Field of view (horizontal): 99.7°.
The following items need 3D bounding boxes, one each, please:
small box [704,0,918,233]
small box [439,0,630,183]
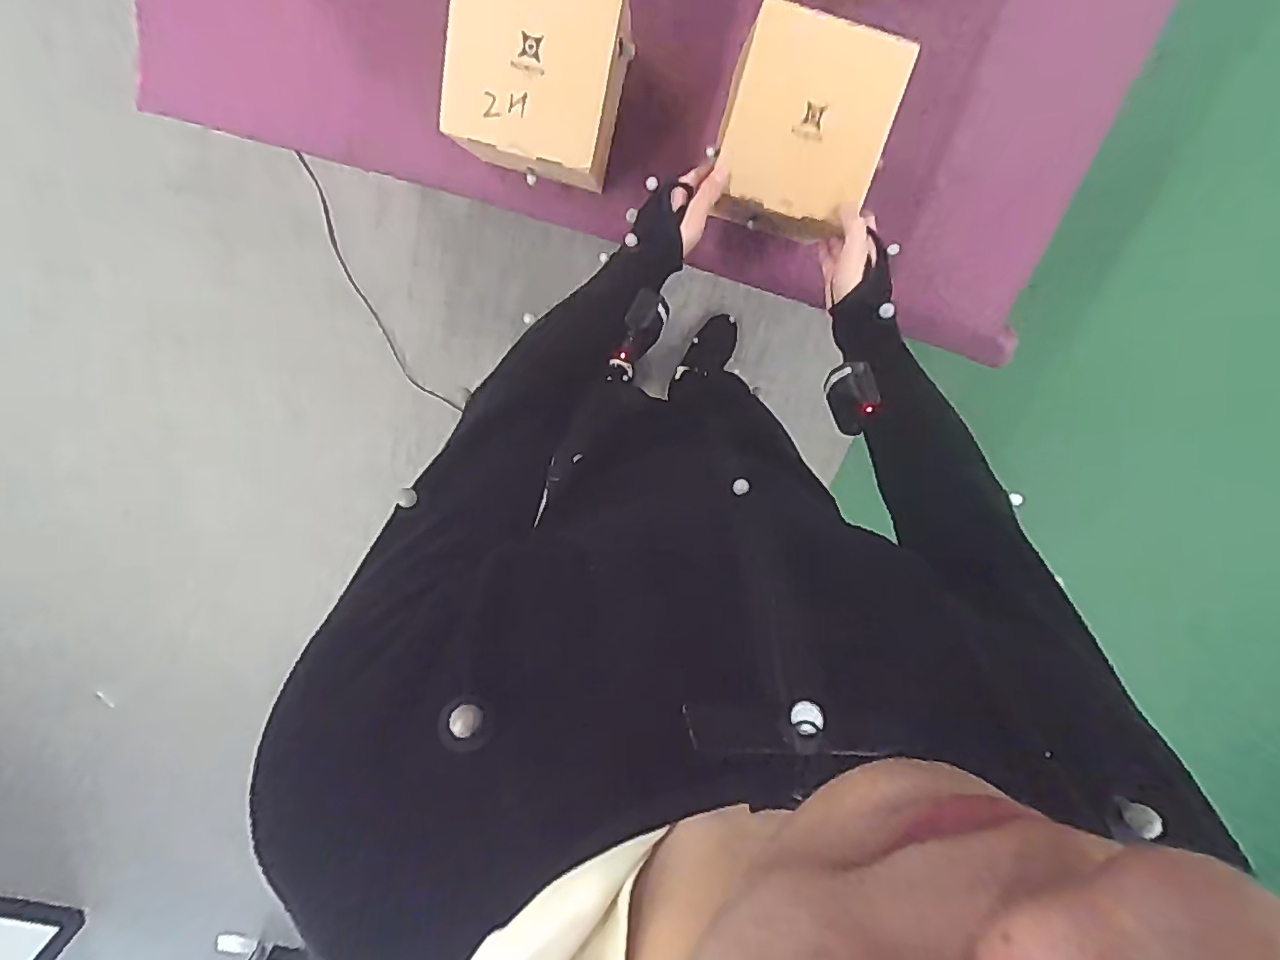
[{"bbox_3d":[0.180,-0.406,0.638,0.168,0.176,0.179,14,113,-6],"label":"small box"},{"bbox_3d":[-0.110,-0.462,0.615,0.168,0.176,0.179,14,112,-5],"label":"small box"}]
